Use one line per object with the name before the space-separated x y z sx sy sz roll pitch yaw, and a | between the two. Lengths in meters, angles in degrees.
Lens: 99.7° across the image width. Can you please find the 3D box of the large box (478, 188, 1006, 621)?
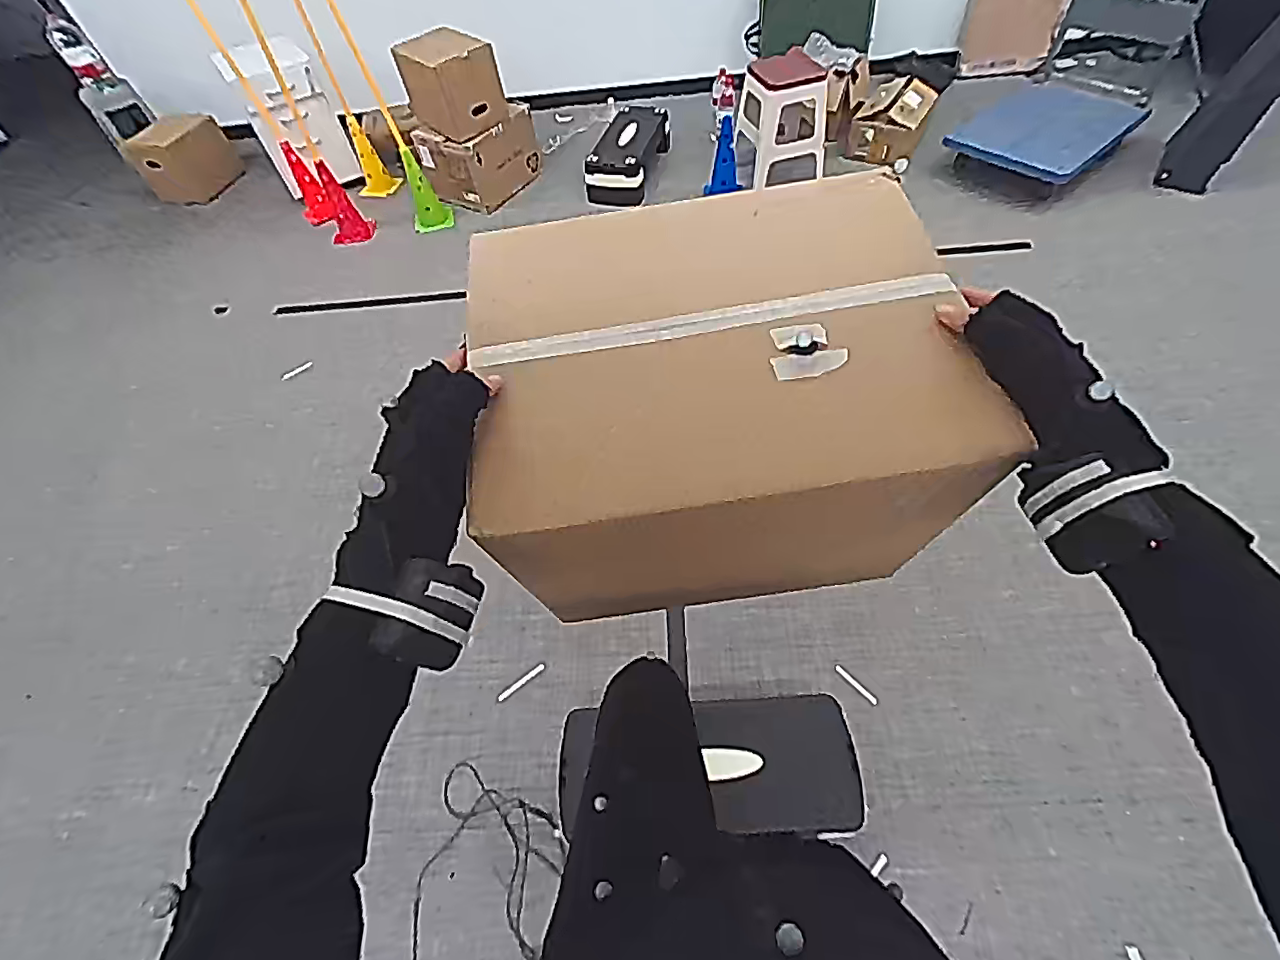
large box | 0.066 -0.056 0.597 0.408 0.320 0.320 -9 64 1
